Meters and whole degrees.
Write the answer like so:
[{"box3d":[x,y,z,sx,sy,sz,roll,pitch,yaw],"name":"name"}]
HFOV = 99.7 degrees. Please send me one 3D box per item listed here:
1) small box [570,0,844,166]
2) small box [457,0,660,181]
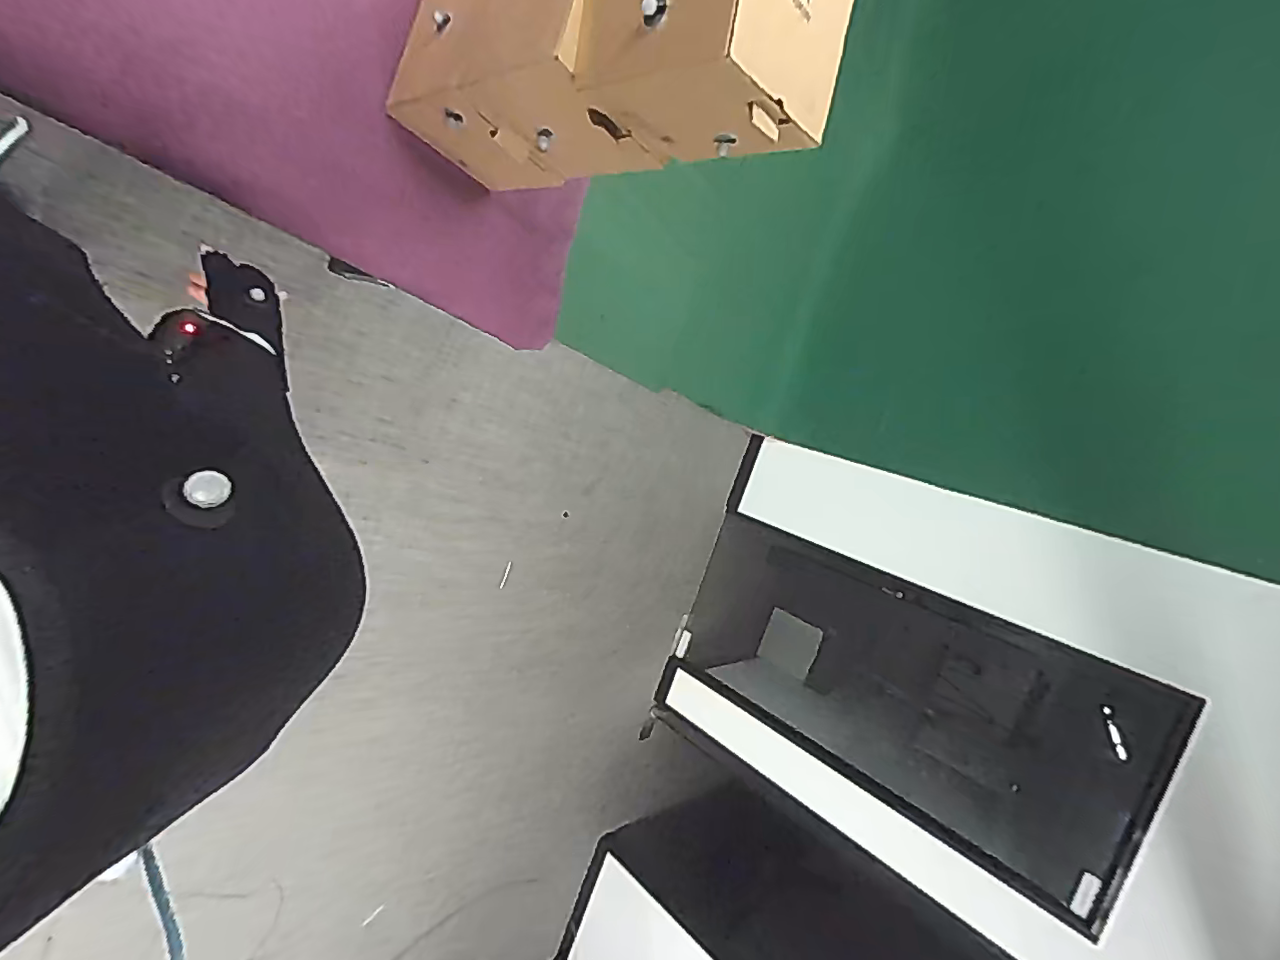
[{"box3d":[0.057,-0.400,0.478,0.168,0.176,0.179,-6,111,-50],"name":"small box"},{"box3d":[-0.067,-0.448,0.573,0.168,0.176,0.179,11,98,-51],"name":"small box"}]
